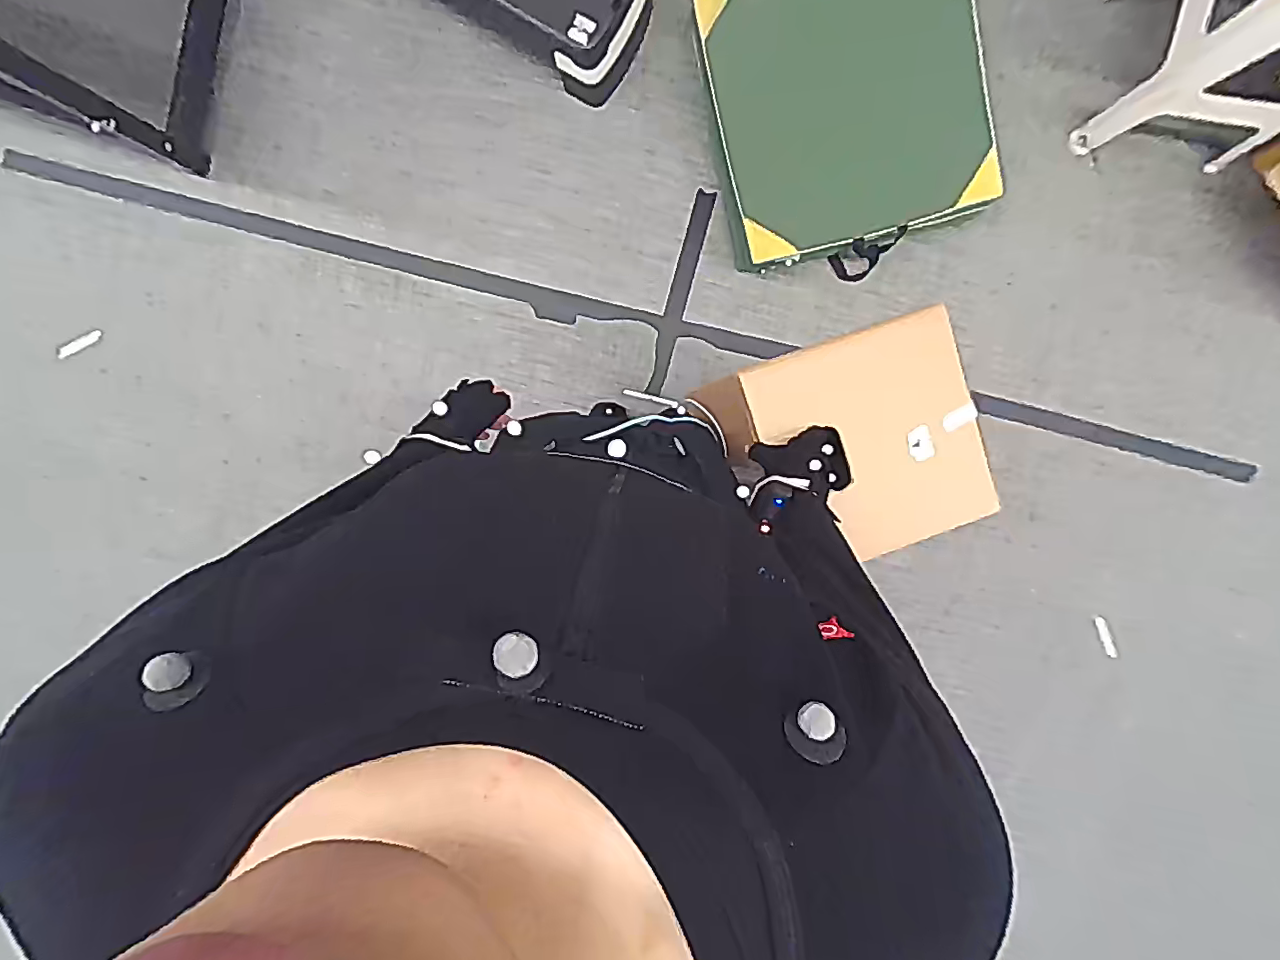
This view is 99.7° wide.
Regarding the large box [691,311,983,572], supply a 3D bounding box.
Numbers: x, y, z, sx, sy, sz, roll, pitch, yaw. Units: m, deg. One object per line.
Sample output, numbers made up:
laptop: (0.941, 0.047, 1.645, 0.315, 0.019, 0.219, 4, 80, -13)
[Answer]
large box: (0.309, -0.069, 0.965, 0.320, 0.408, 0.320, -17, 96, -3)
